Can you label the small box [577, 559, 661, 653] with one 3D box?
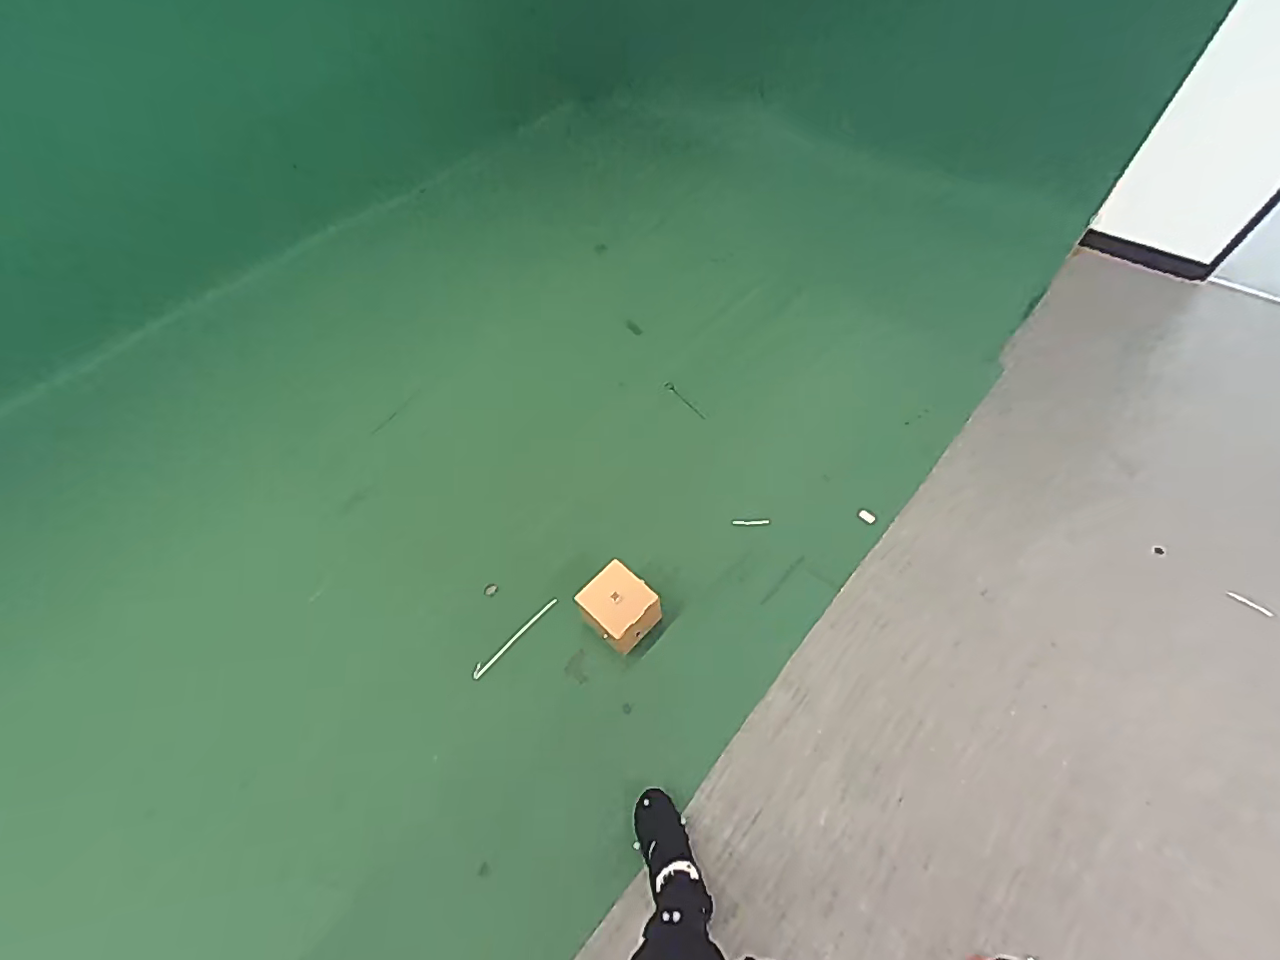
[{"bbox_3d":[-0.057,0.369,1.560,0.179,0.176,0.168,37,66,24],"label":"small box"}]
